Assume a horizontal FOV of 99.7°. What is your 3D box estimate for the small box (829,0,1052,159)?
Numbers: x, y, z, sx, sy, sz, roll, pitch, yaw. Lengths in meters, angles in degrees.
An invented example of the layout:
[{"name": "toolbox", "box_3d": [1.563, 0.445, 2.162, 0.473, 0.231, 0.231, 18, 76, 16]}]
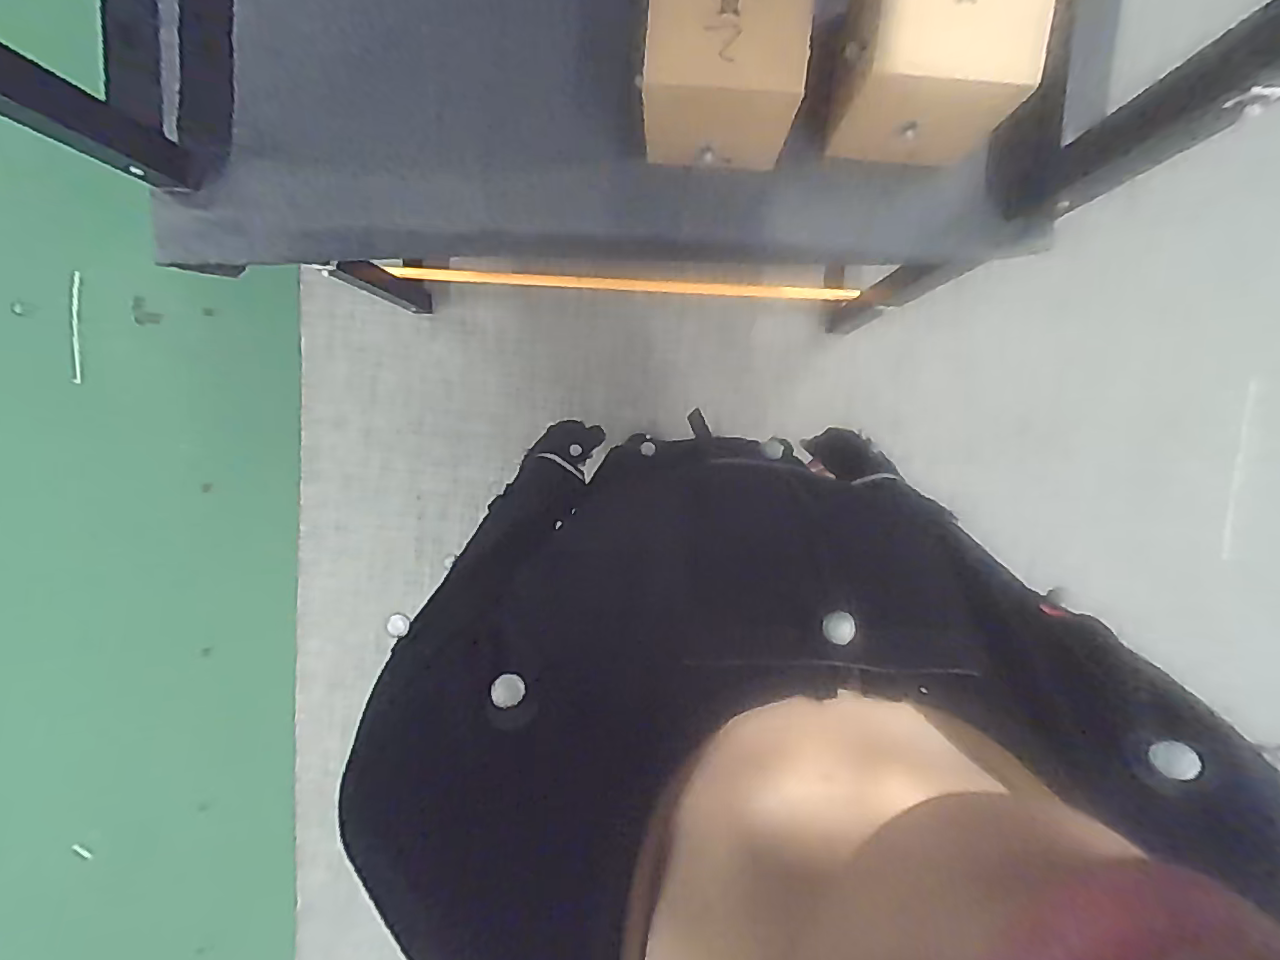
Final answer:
[{"name": "small box", "box_3d": [0.324, -0.491, 0.606, 0.168, 0.176, 0.179, 7, 95, 2]}]
